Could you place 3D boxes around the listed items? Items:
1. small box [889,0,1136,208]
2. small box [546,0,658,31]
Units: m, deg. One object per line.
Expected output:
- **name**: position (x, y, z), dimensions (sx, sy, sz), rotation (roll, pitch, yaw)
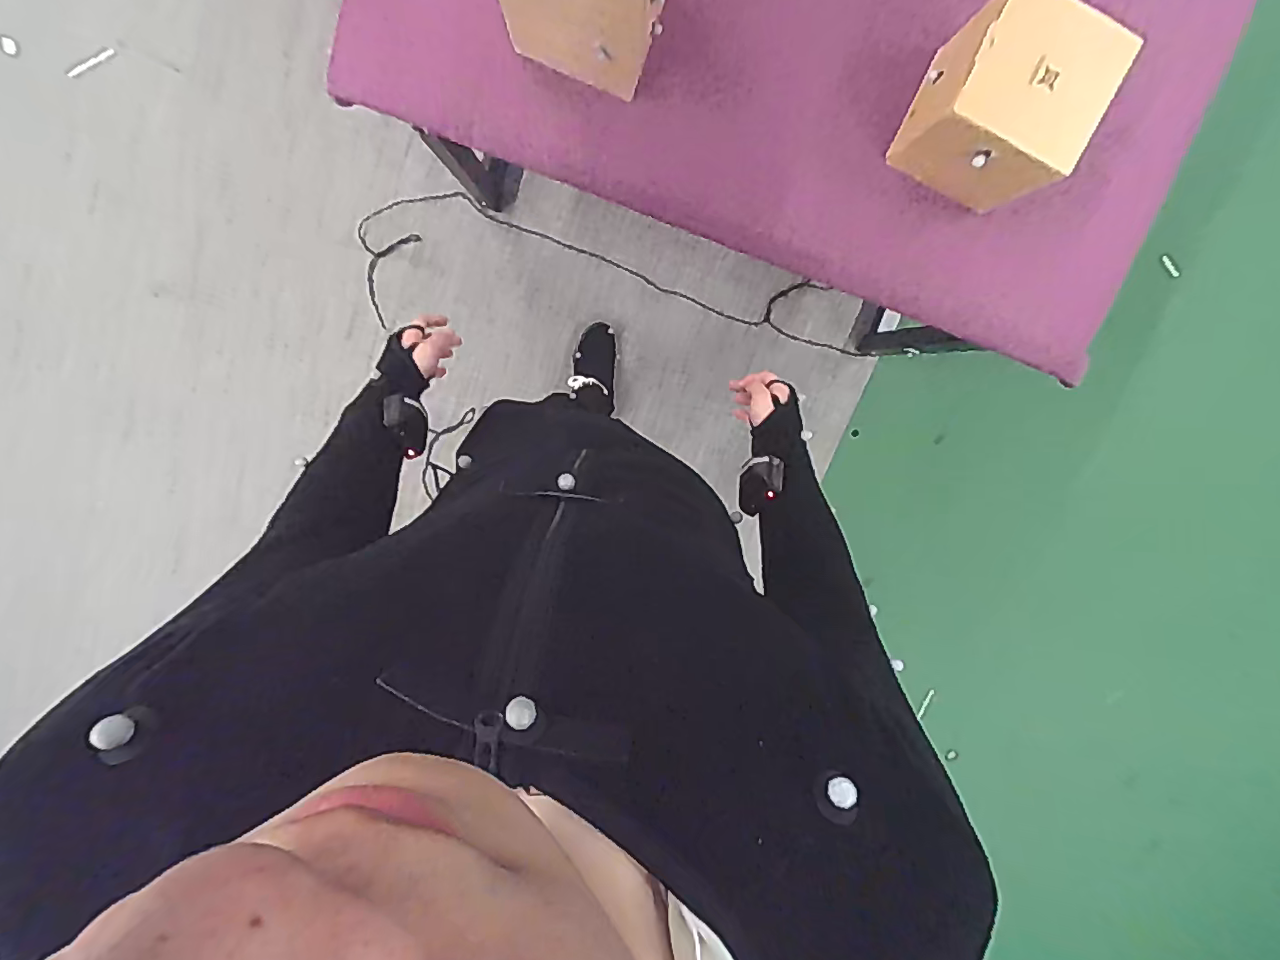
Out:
- **small box**: position (0.483, -0.496, 0.730), dimensions (0.179, 0.176, 0.168), rotation (24, 100, -6)
- **small box**: position (-0.043, -0.583, 0.515), dimensions (0.179, 0.176, 0.168), rotation (17, 100, -6)
